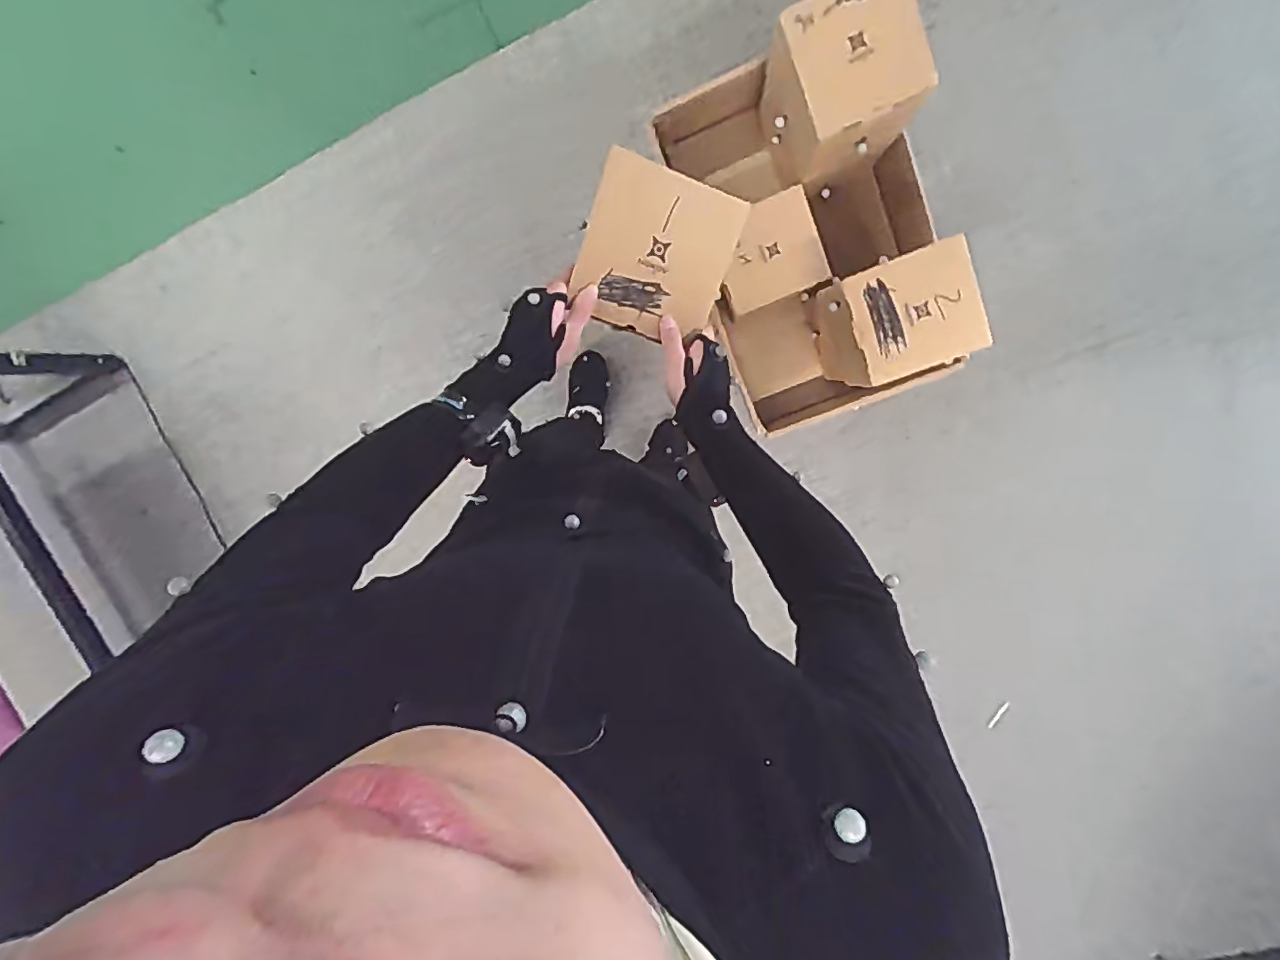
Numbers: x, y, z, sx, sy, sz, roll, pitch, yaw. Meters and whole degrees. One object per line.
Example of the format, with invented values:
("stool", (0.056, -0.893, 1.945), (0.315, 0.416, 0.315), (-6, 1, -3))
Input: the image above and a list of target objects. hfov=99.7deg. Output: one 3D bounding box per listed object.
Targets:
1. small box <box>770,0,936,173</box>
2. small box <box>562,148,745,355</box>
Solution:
("small box", (0.304, -0.588, 0.804), (0.168, 0.176, 0.179), (-20, 99, 10))
("small box", (0.008, -0.275, 0.679), (0.168, 0.176, 0.179), (16, 108, -11))
